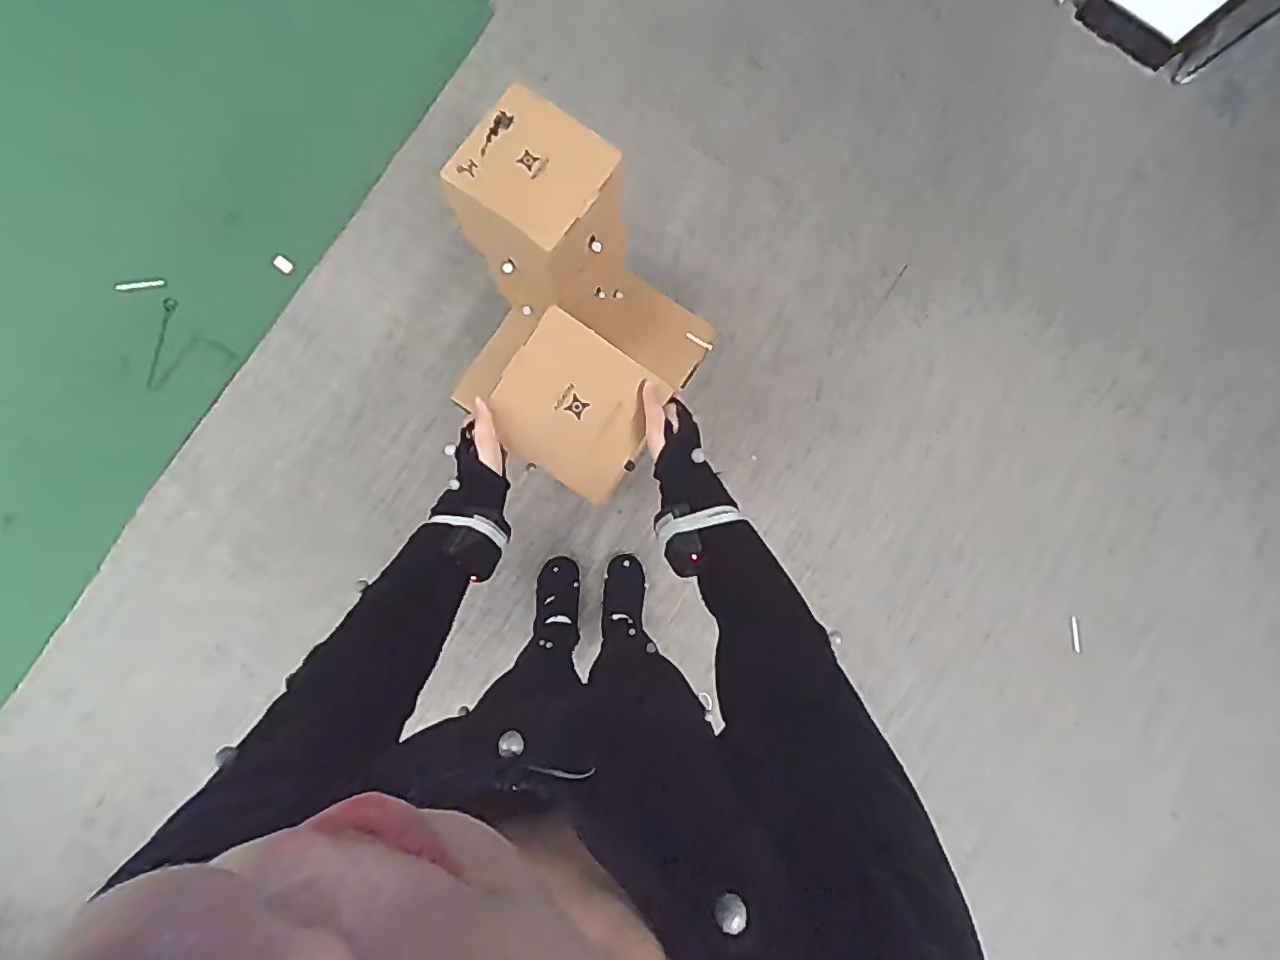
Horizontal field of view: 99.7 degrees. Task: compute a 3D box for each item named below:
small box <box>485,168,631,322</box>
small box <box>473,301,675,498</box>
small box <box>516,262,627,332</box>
[{"bbox_3d":[-0.136,-0.376,0.931,0.168,0.176,0.179,37,84,0],"label":"small box"},{"bbox_3d":[-0.080,-0.091,0.696,0.179,0.176,0.168,34,89,-4],"label":"small box"},{"bbox_3d":[-0.145,-0.380,1.097,0.168,0.176,0.179,34,84,0],"label":"small box"}]
